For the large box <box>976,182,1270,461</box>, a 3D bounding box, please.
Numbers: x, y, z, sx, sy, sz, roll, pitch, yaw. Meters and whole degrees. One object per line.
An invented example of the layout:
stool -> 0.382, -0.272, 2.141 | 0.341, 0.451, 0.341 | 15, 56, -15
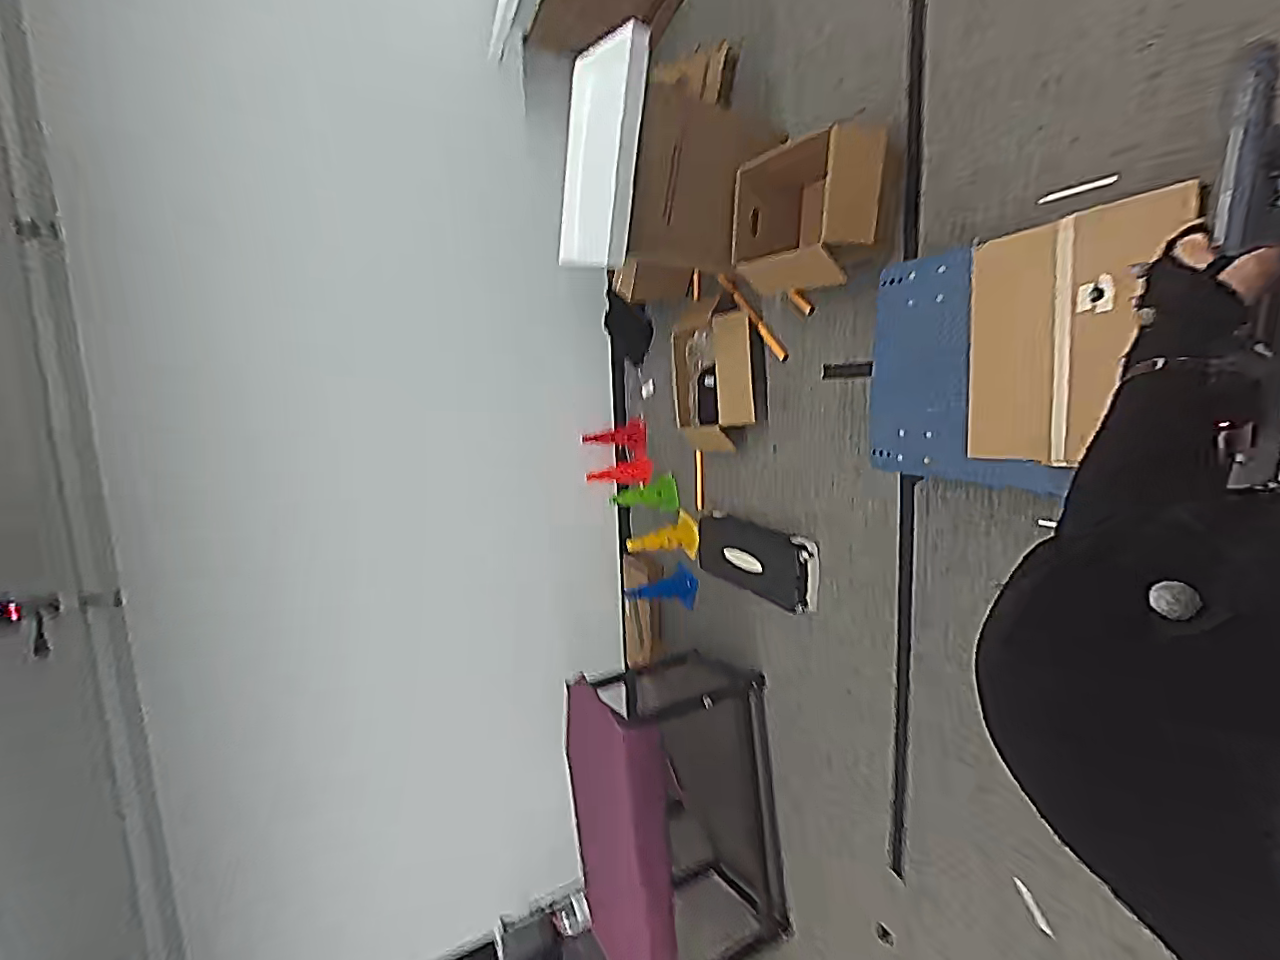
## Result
large box -> 0.851, -0.240, 0.972 | 0.320, 0.320, 0.408 | 7, 100, 61
